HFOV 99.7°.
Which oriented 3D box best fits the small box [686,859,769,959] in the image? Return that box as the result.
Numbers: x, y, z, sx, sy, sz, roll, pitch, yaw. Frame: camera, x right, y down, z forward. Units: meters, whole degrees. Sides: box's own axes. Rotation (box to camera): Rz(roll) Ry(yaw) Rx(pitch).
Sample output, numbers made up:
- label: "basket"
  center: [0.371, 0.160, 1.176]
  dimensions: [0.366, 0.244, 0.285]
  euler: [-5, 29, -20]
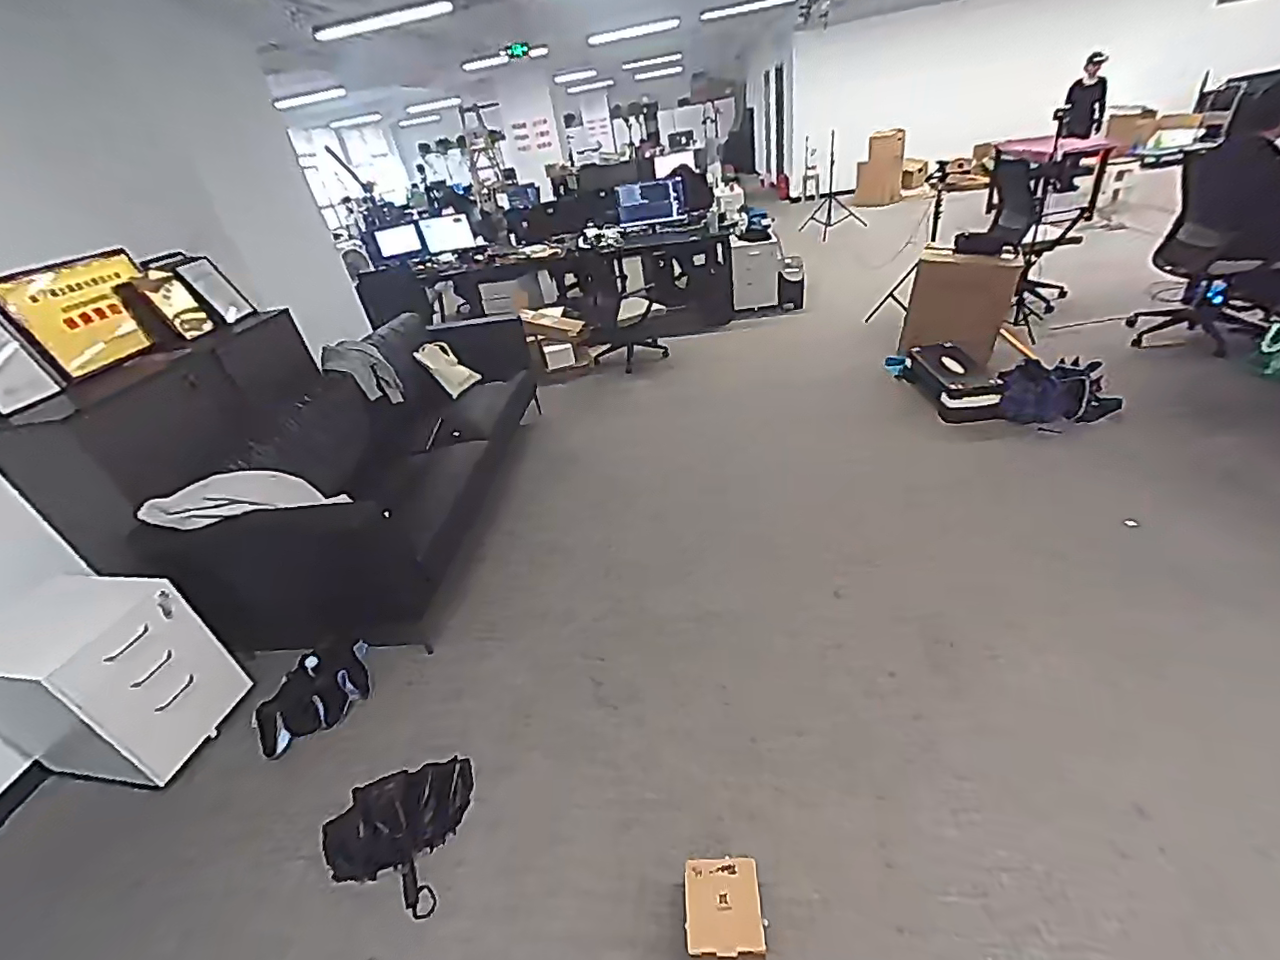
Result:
- label: "small box"
  center: [0.198, 0.998, 1.231]
  dimensions: [0.168, 0.176, 0.179]
  euler: [-7, 35, 7]
